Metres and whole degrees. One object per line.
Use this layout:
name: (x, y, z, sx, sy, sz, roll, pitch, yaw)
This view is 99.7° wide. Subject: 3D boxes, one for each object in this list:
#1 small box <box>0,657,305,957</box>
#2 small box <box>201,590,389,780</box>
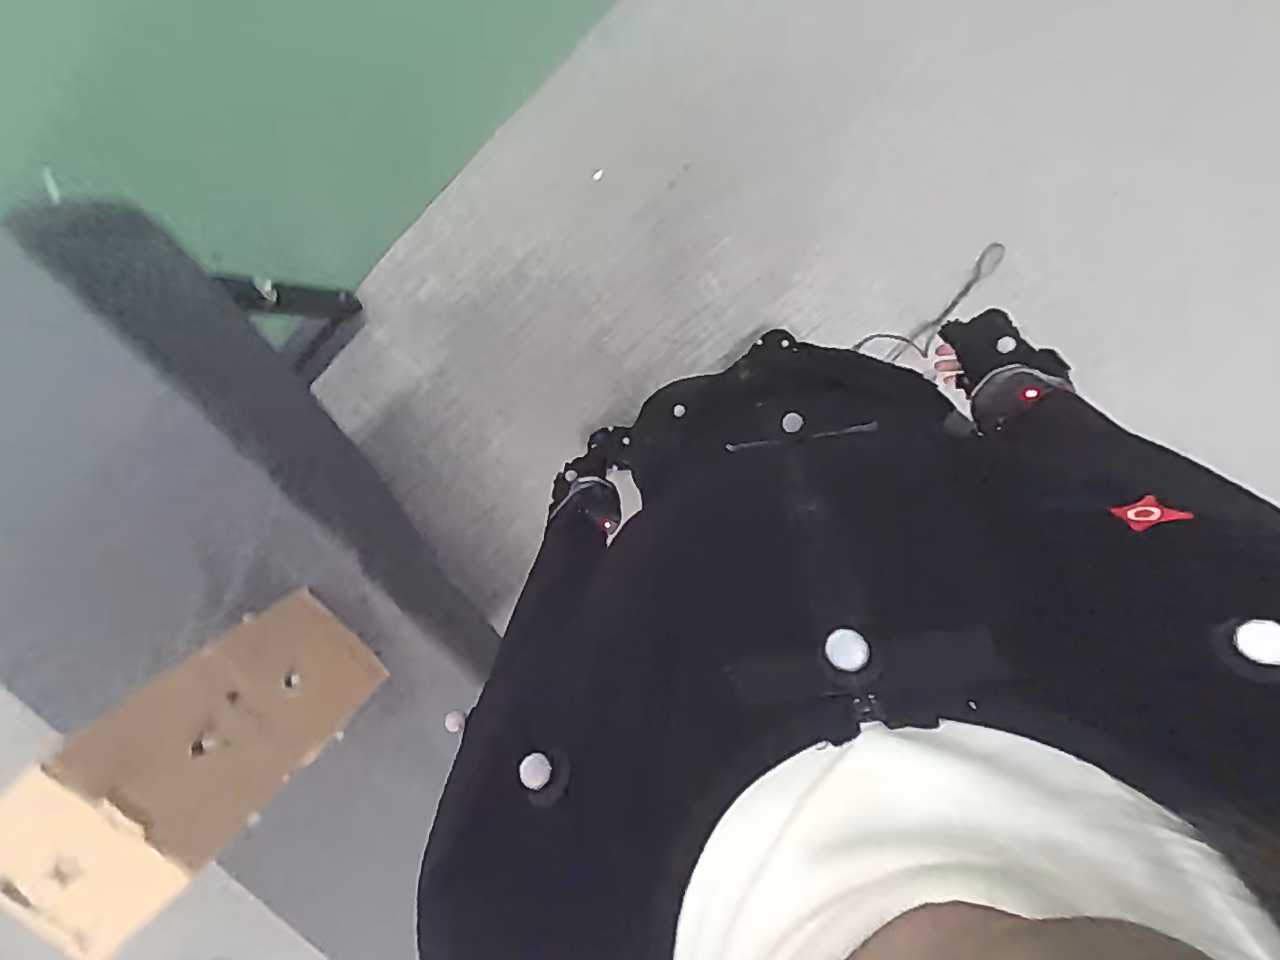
small box: (-0.498, 0.324, 0.566, 0.179, 0.176, 0.168, -42, 99, 12)
small box: (-0.481, 0.282, 0.722, 0.168, 0.176, 0.179, -40, 97, 12)
